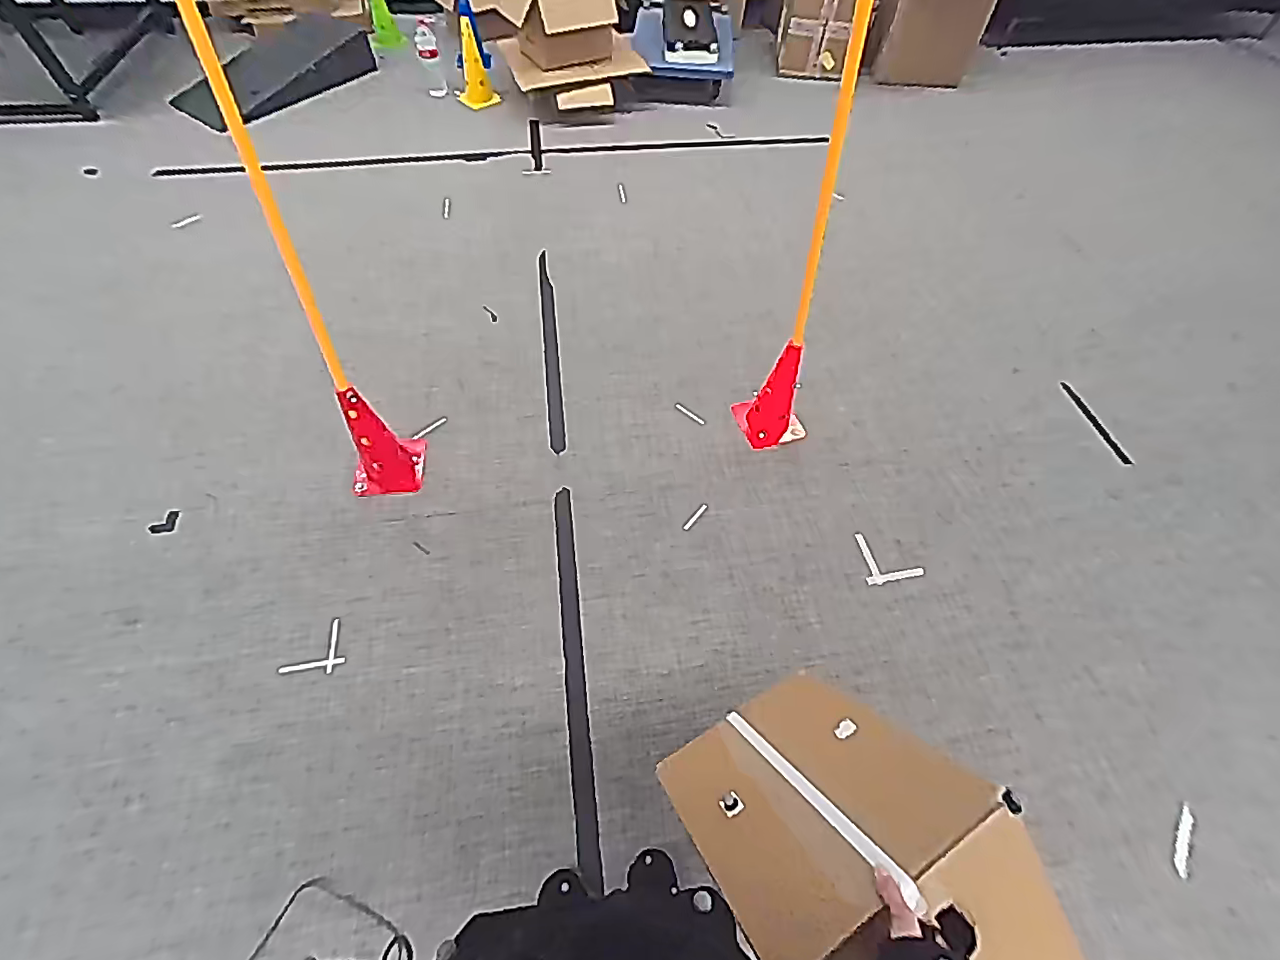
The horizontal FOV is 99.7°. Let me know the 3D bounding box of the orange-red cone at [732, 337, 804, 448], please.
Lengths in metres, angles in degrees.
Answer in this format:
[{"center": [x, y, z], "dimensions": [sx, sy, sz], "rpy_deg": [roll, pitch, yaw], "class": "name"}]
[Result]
[{"center": [0.433, -0.291, 1.654], "dimensions": [0.199, 0.360, 0.198], "rpy_deg": [-13, 59, -12], "class": "orange-red cone"}]
